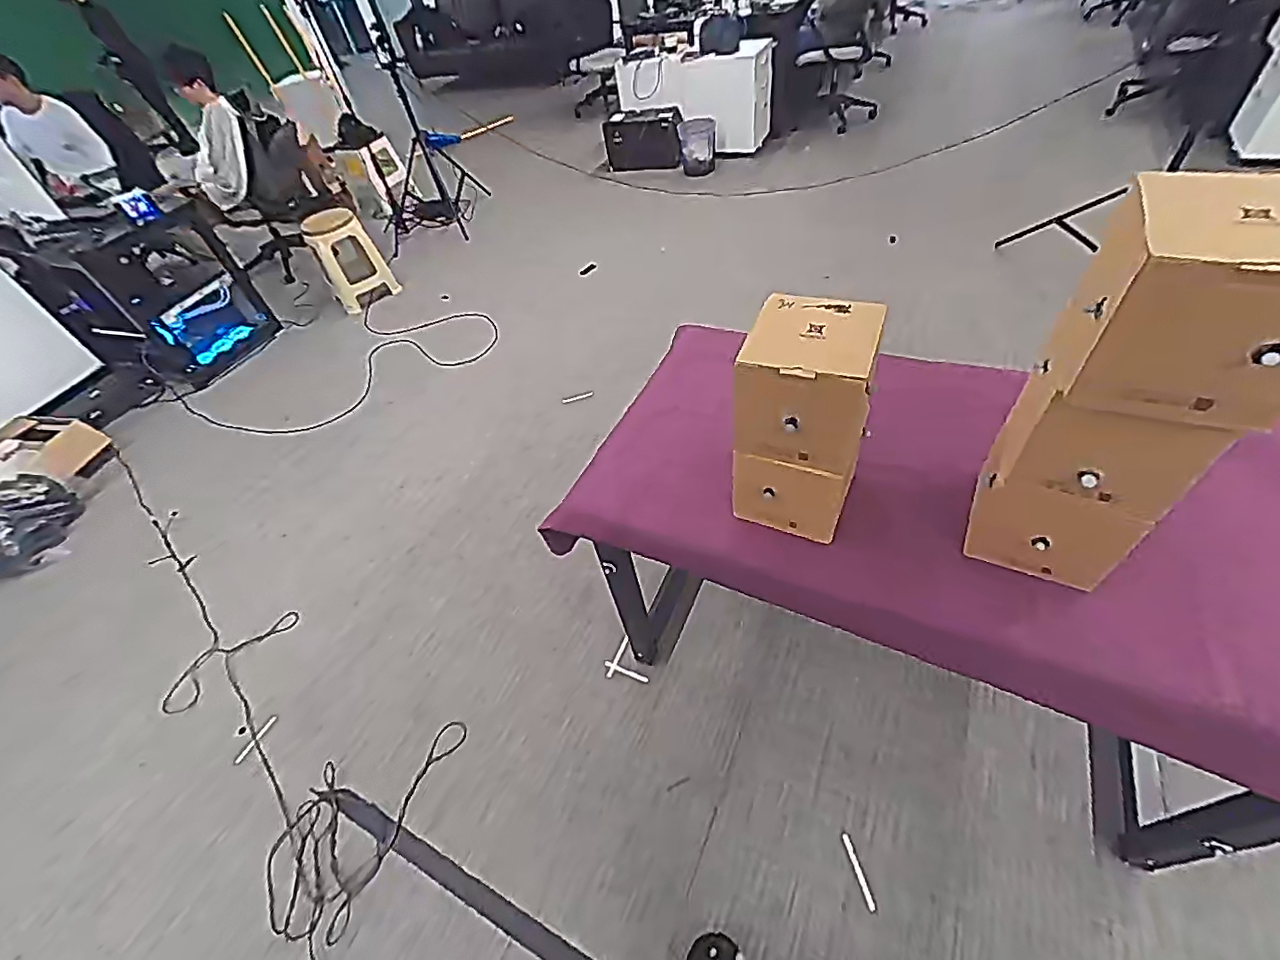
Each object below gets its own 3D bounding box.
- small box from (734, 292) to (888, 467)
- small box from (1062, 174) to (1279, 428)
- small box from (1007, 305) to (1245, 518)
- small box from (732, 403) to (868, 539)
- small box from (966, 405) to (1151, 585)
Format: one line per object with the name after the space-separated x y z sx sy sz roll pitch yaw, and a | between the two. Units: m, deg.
0.242 -0.143 0.778 0.168 0.176 0.179 15 53 21 | small box
0.548 -0.176 0.531 0.168 0.176 0.179 15 53 22 | small box
0.579 -0.086 0.664 0.168 0.176 0.179 18 55 24 | small box
0.262 -0.030 0.895 0.168 0.176 0.179 17 53 23 | small box
0.597 0.023 0.786 0.168 0.176 0.179 18 54 24 | small box
